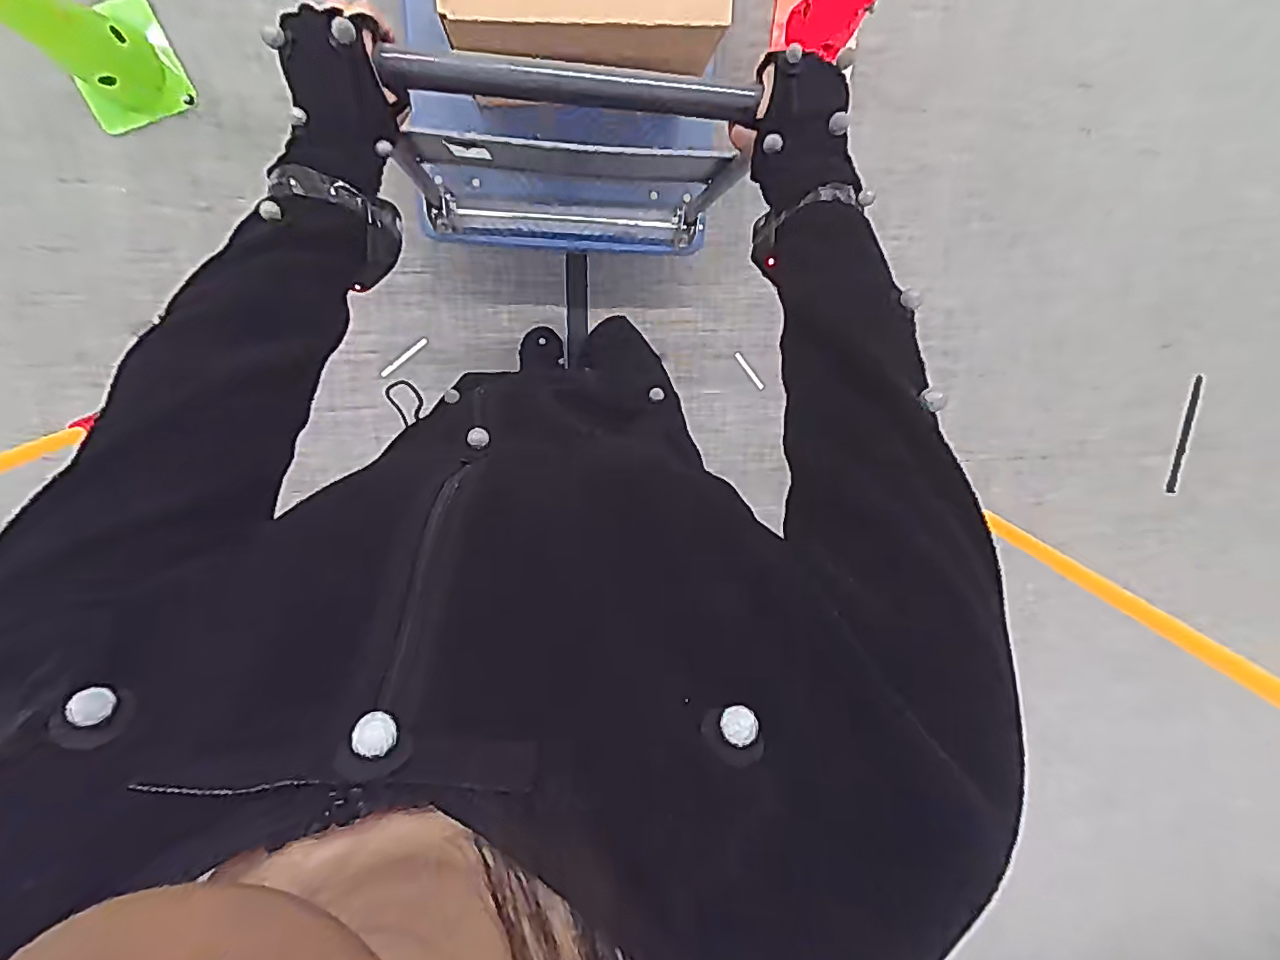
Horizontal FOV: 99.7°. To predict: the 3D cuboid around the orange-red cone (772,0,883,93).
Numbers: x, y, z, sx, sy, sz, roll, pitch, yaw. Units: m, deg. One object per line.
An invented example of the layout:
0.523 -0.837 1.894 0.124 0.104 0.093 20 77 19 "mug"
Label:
0.428 -0.945 1.050 0.199 0.360 0.198 4 106 -10 "orange-red cone"
